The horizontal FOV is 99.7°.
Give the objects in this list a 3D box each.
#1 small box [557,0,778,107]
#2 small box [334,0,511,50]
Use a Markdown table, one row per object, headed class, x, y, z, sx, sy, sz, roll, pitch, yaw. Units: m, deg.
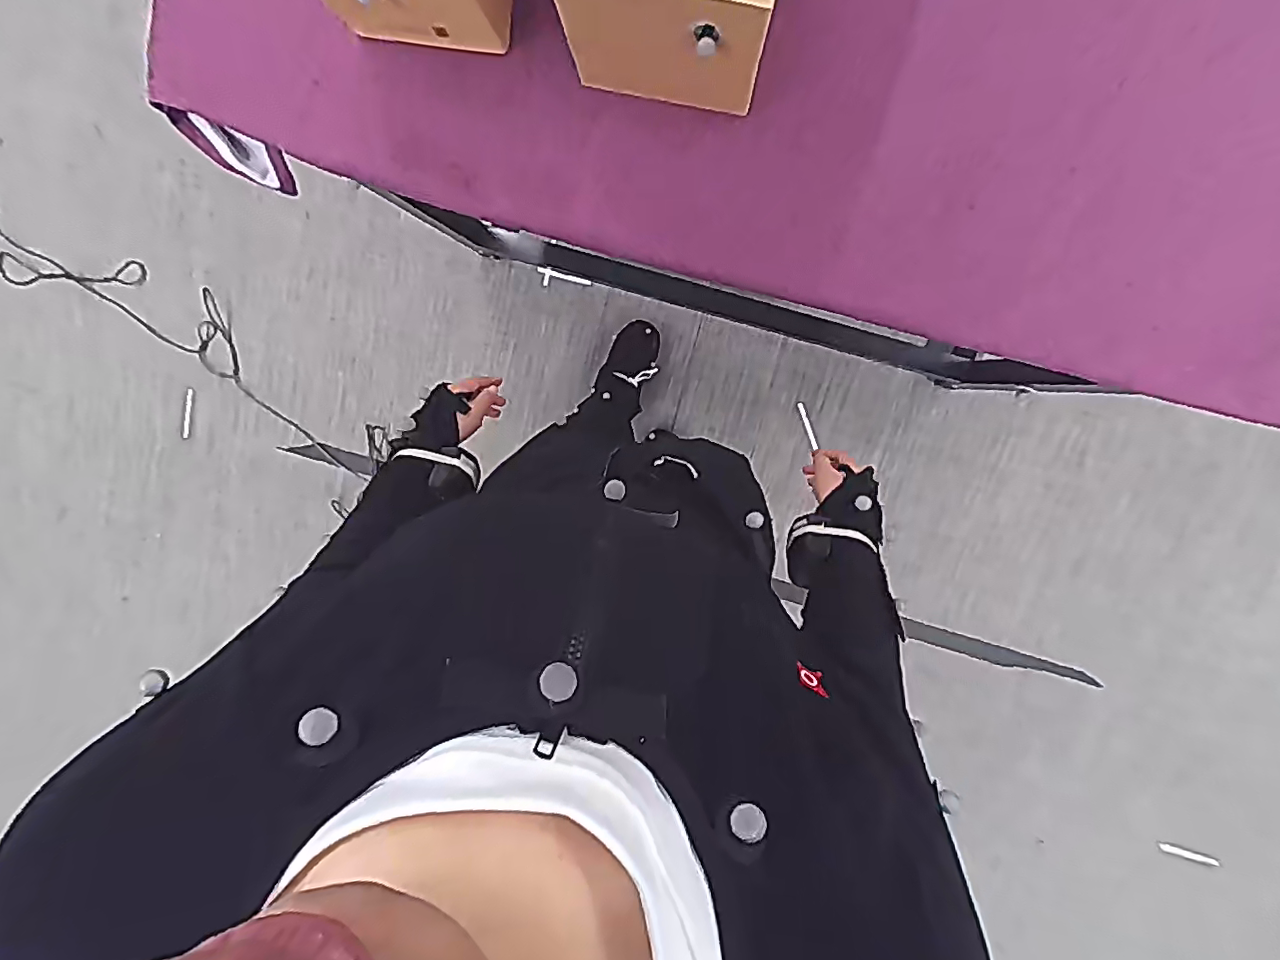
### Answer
| class | x | y | z | sx | sy | sz | roll | pitch | yaw |
| --- | --- | --- | --- | --- | --- | --- | --- | --- | --- |
| small box | 0.035 | -0.456 | 0.462 | 0.179 | 0.176 | 0.168 | 12 | 101 | 2 |
| small box | -0.212 | -0.524 | 0.473 | 0.168 | 0.176 | 0.179 | 9 | 101 | 3 |
